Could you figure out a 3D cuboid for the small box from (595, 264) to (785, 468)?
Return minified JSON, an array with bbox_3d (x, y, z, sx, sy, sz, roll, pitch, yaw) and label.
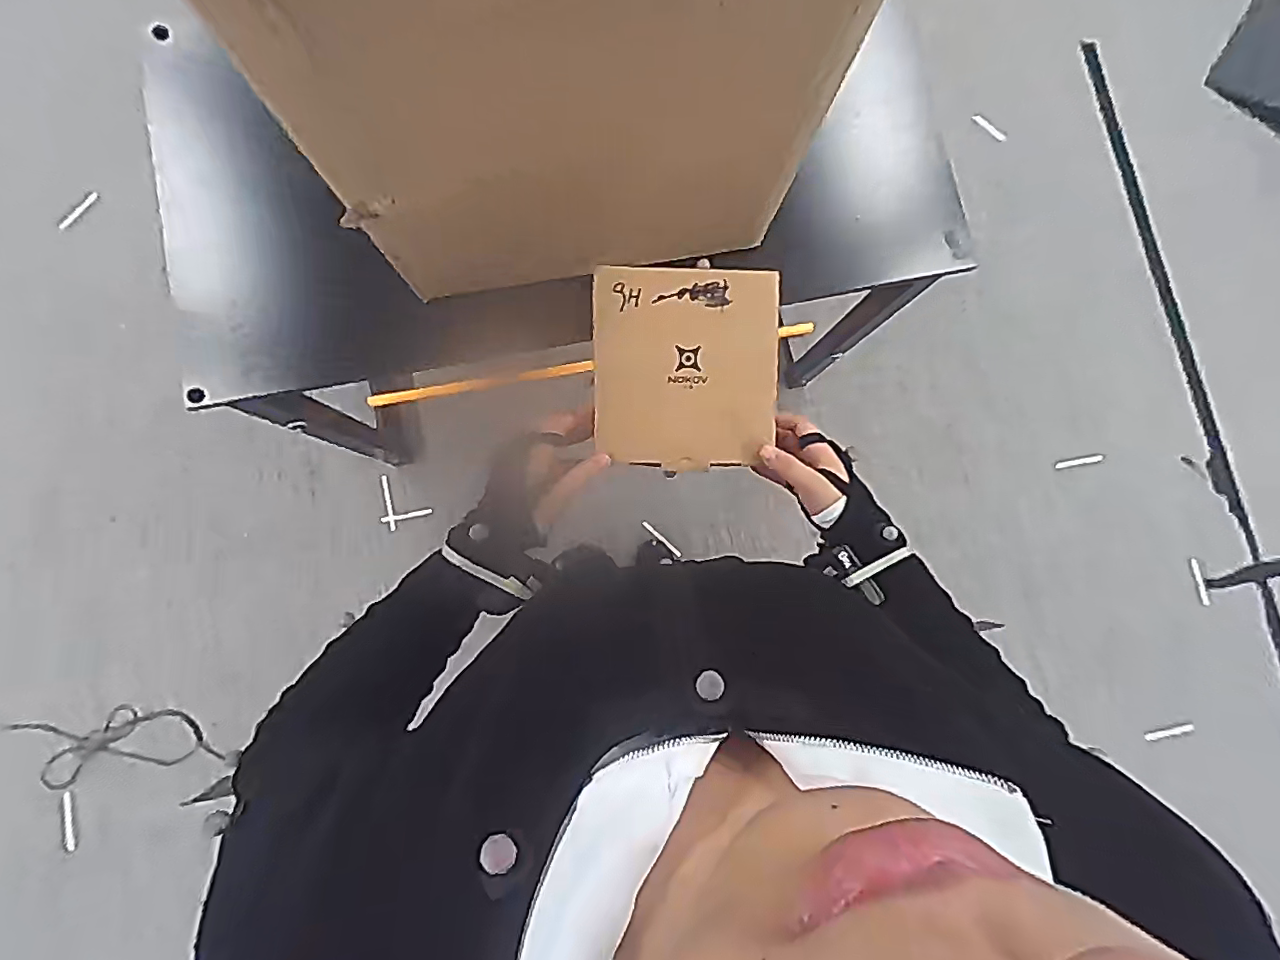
[{"bbox_3d":[0.038,-0.108,0.559,0.168,0.176,0.179,1,96,-5],"label":"small box"}]
